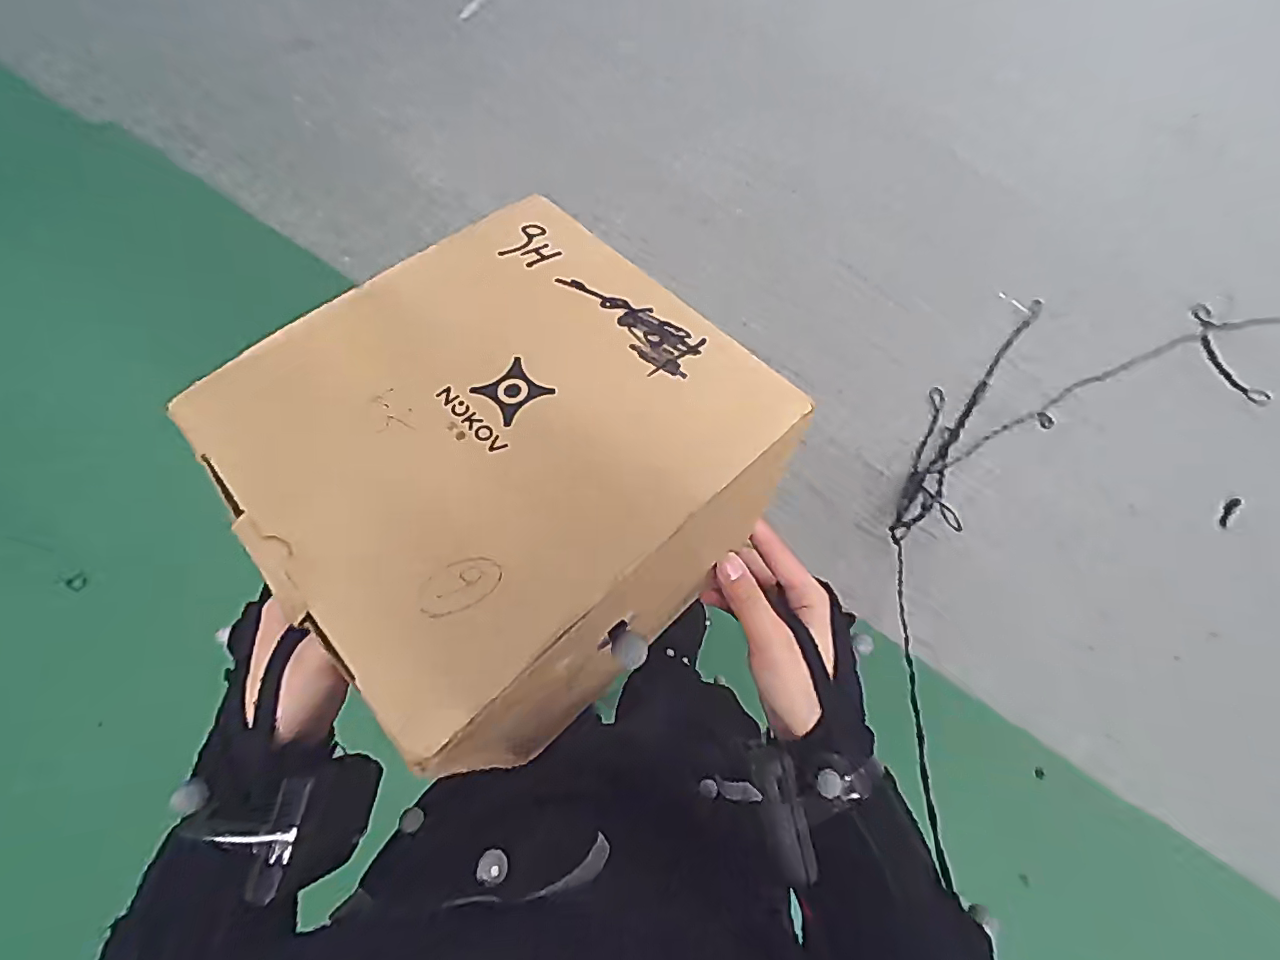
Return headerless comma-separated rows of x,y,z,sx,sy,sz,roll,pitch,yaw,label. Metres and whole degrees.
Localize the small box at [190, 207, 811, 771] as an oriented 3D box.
-0.050,0.014,0.269,0.179,0.176,0.168,-40,69,-18,small box
